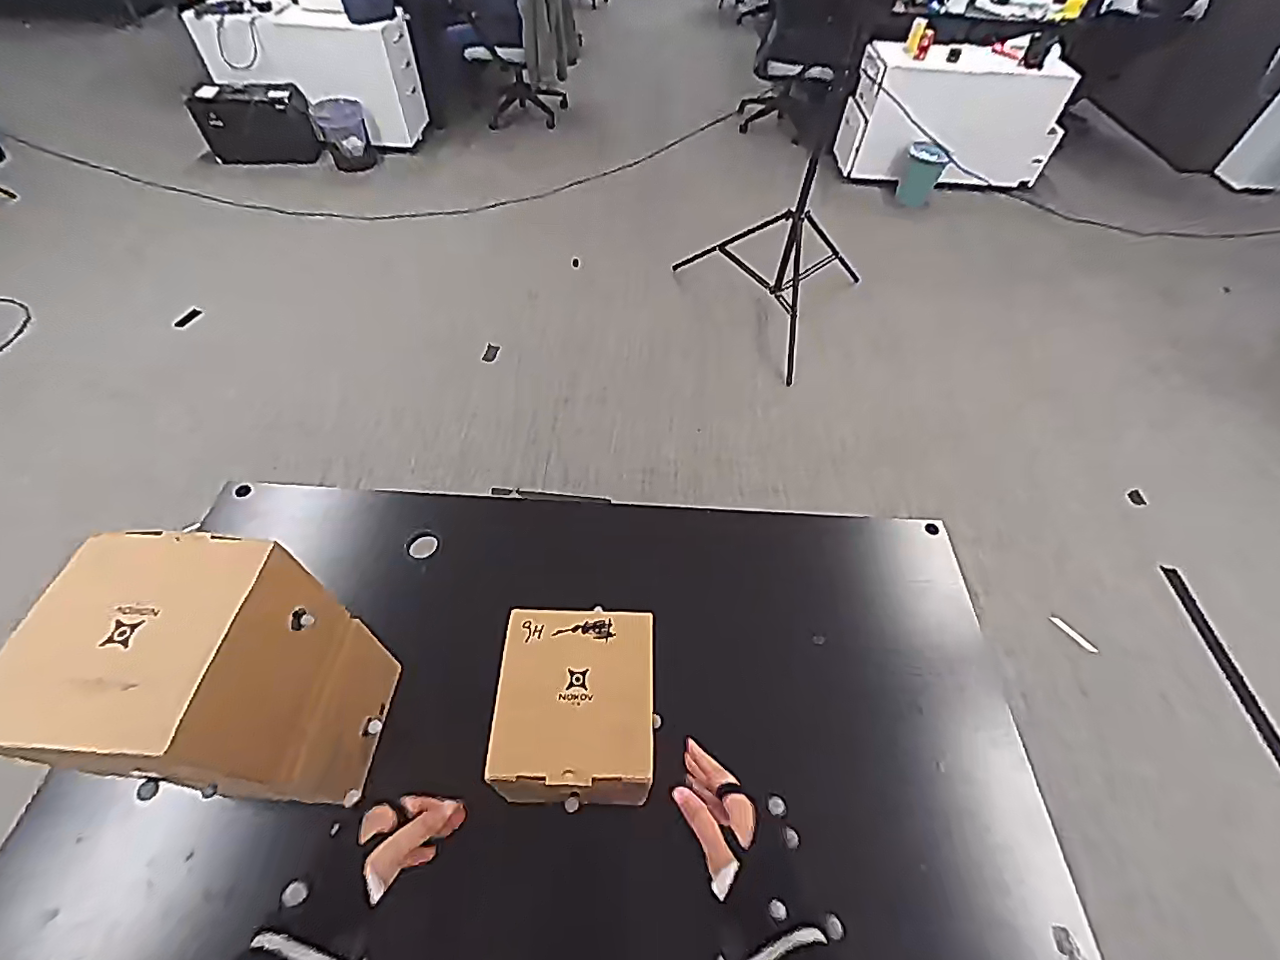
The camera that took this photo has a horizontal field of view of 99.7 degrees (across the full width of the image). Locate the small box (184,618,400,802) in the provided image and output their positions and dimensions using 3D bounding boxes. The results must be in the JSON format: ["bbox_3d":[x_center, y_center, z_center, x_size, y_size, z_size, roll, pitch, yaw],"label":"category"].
[{"bbox_3d":[-0.410,0.265,0.626,0.179,0.176,0.168,5,53,-1],"label":"small box"}]

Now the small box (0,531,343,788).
[{"bbox_3d":[-0.405,0.167,0.496,0.168,0.176,0.179,2,53,0],"label":"small box"}]

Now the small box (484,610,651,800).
[{"bbox_3d":[-0.073,0.271,0.642,0.168,0.176,0.179,2,52,-1],"label":"small box"}]
